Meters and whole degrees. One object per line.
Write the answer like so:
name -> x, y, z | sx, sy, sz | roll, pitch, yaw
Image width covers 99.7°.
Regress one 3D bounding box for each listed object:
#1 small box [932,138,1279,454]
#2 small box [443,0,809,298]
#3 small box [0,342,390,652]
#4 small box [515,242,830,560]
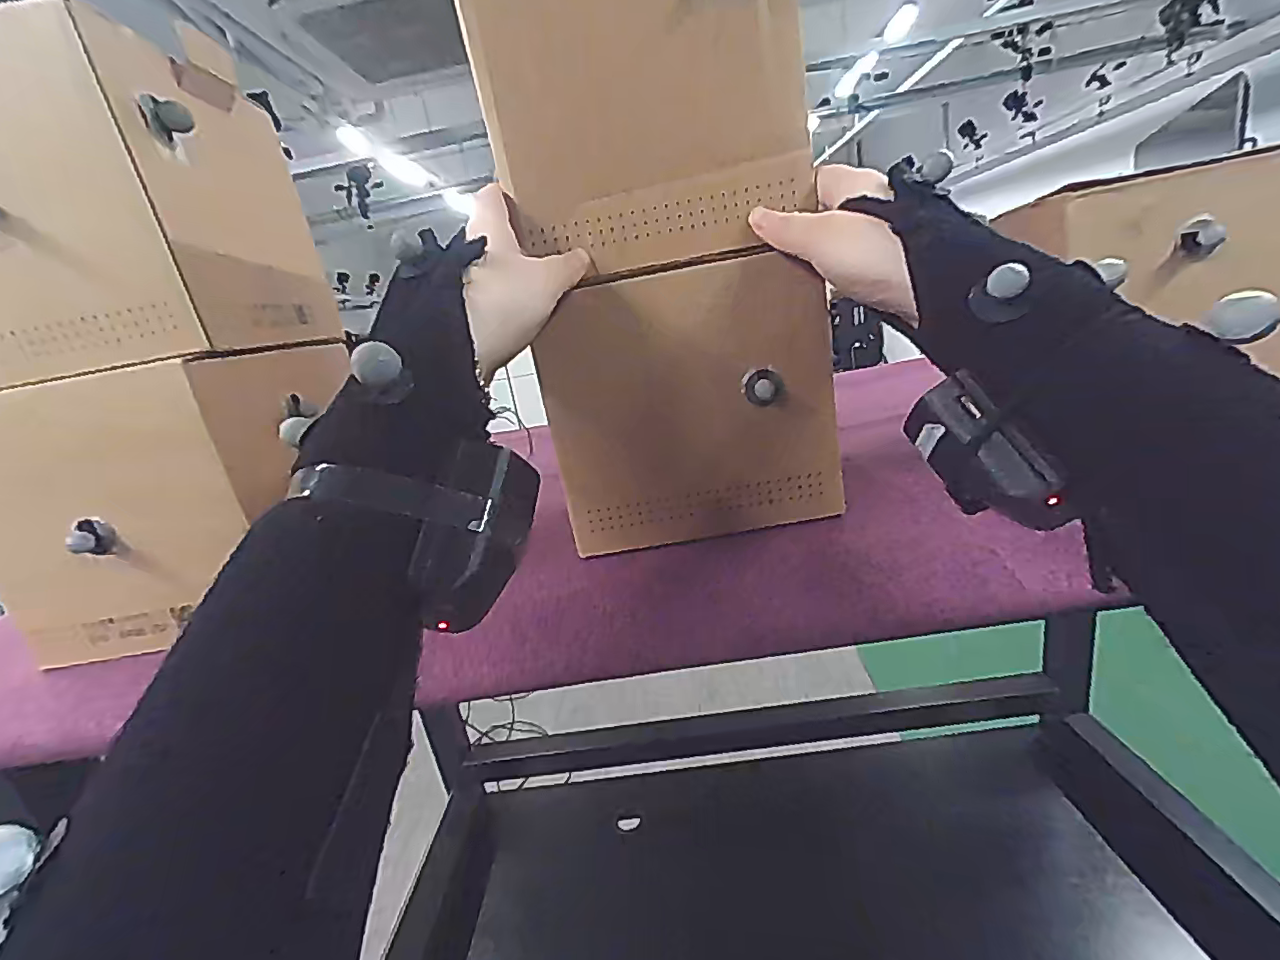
small box -> 0.345, -0.123, 0.399 | 0.179, 0.176, 0.168 | -9, 15, 5
small box -> -0.004, -0.214, 0.358 | 0.179, 0.176, 0.168 | -10, 15, 1
small box -> -0.308, 0.006, 0.388 | 0.168, 0.176, 0.179 | -9, 18, 2
small box -> 0.029, -0.059, 0.397 | 0.179, 0.176, 0.168 | -11, 15, 3
